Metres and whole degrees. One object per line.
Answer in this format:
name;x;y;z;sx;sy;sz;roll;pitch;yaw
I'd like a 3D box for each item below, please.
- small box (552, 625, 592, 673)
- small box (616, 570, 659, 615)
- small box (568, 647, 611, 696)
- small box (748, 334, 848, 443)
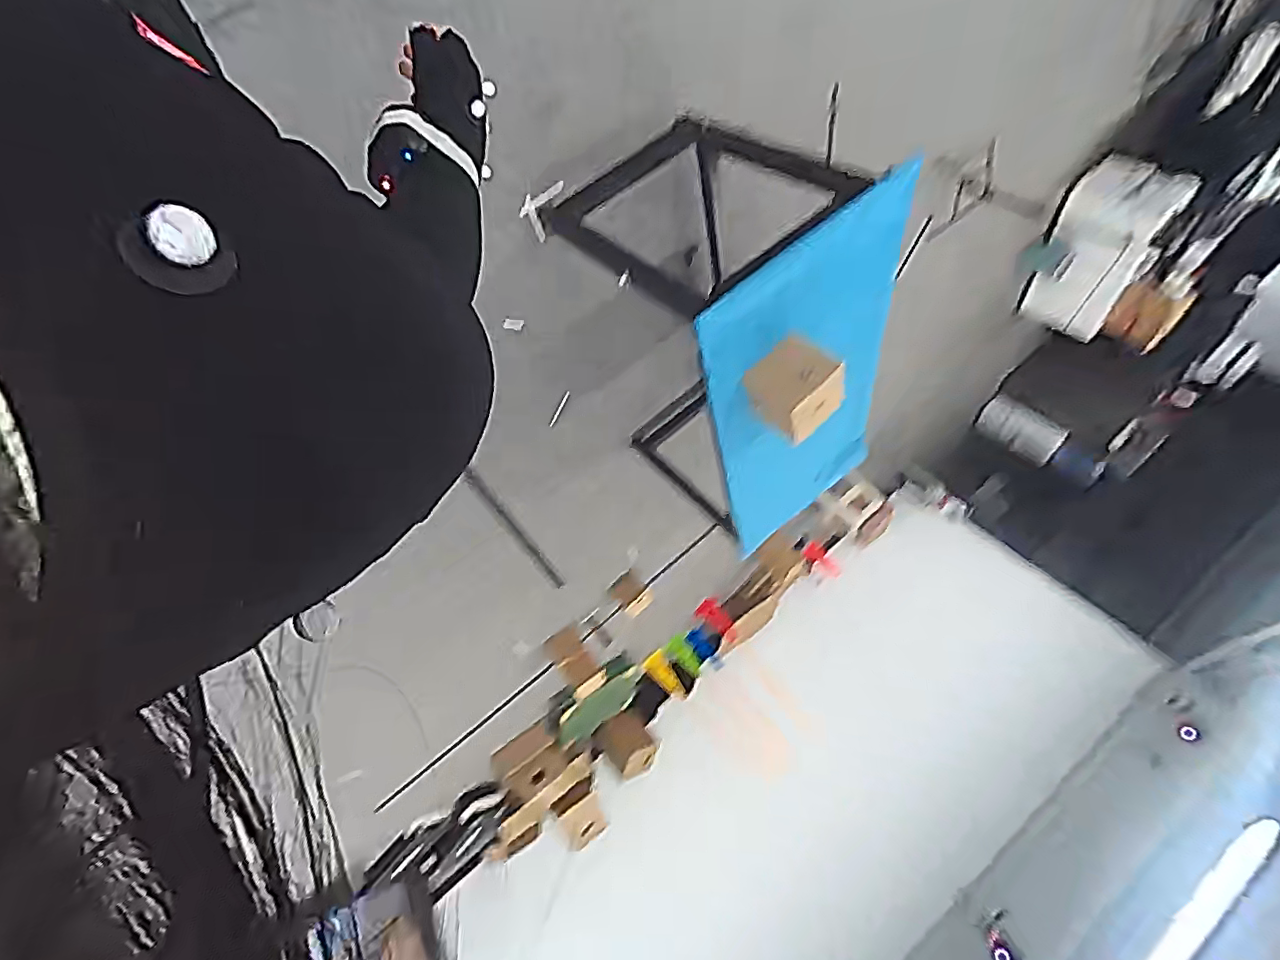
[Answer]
small box;-0.391;0.980;3.153;0.179;0.176;0.168;-27;143;-22
small box;-0.017;0.662;3.208;0.168;0.176;0.179;-39;147;-9
small box;-0.287;1.091;3.085;0.179;0.176;0.168;-29;143;-21
small box;0.398;-0.236;1.373;0.179;0.176;0.168;-38;145;-7
